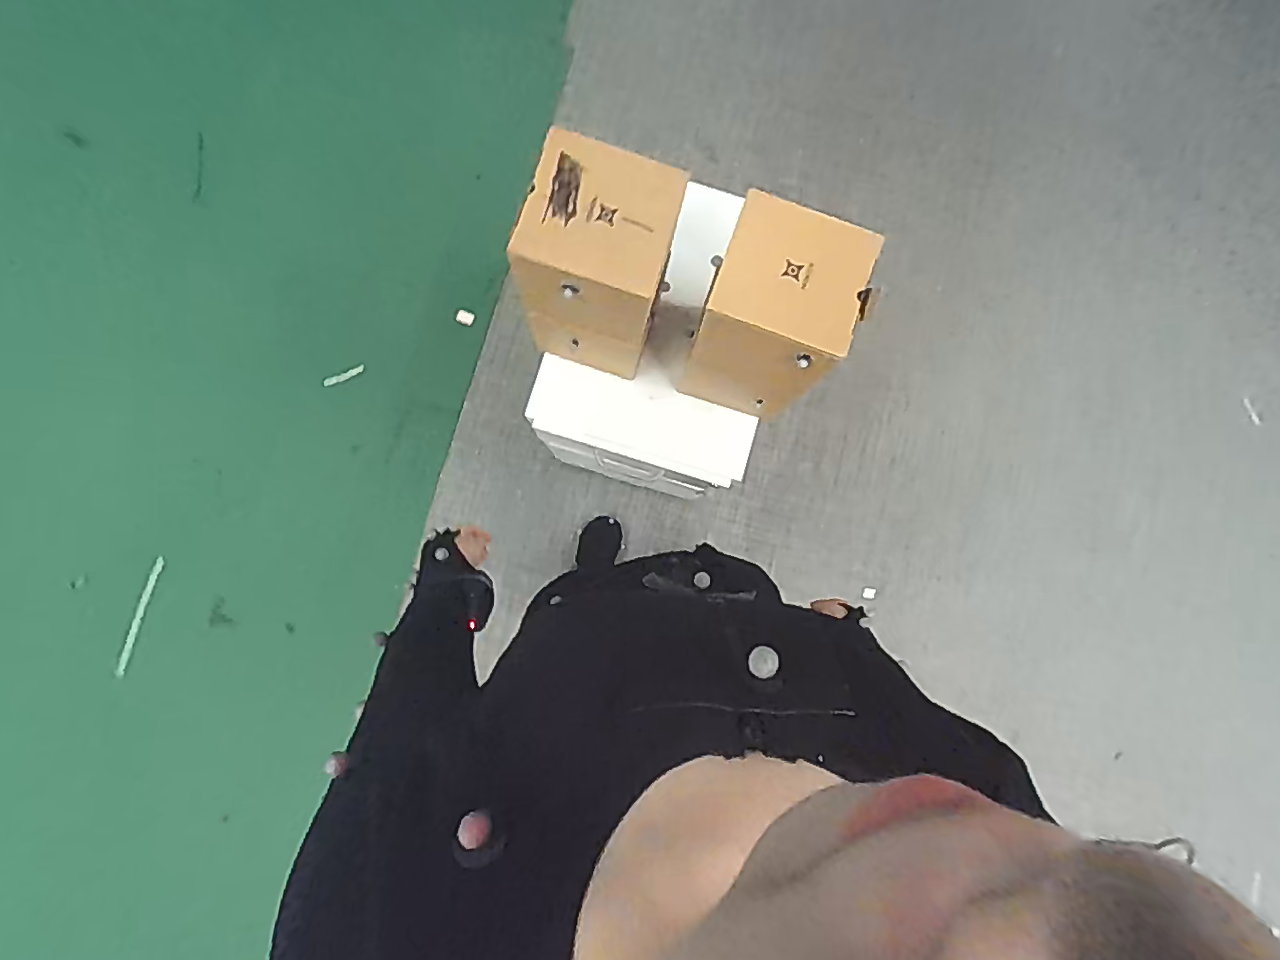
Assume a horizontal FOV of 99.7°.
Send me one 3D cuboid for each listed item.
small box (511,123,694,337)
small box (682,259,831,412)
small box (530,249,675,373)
[{"bbox_3d":[-0.047,-0.307,0.704,0.179,0.176,0.168,17,84,-3],"label":"small box"},{"bbox_3d":[0.178,-0.220,0.876,0.179,0.176,0.168,18,84,2],"label":"small box"},{"bbox_3d":[-0.059,-0.289,0.868,0.179,0.176,0.168,18,85,-3],"label":"small box"}]
